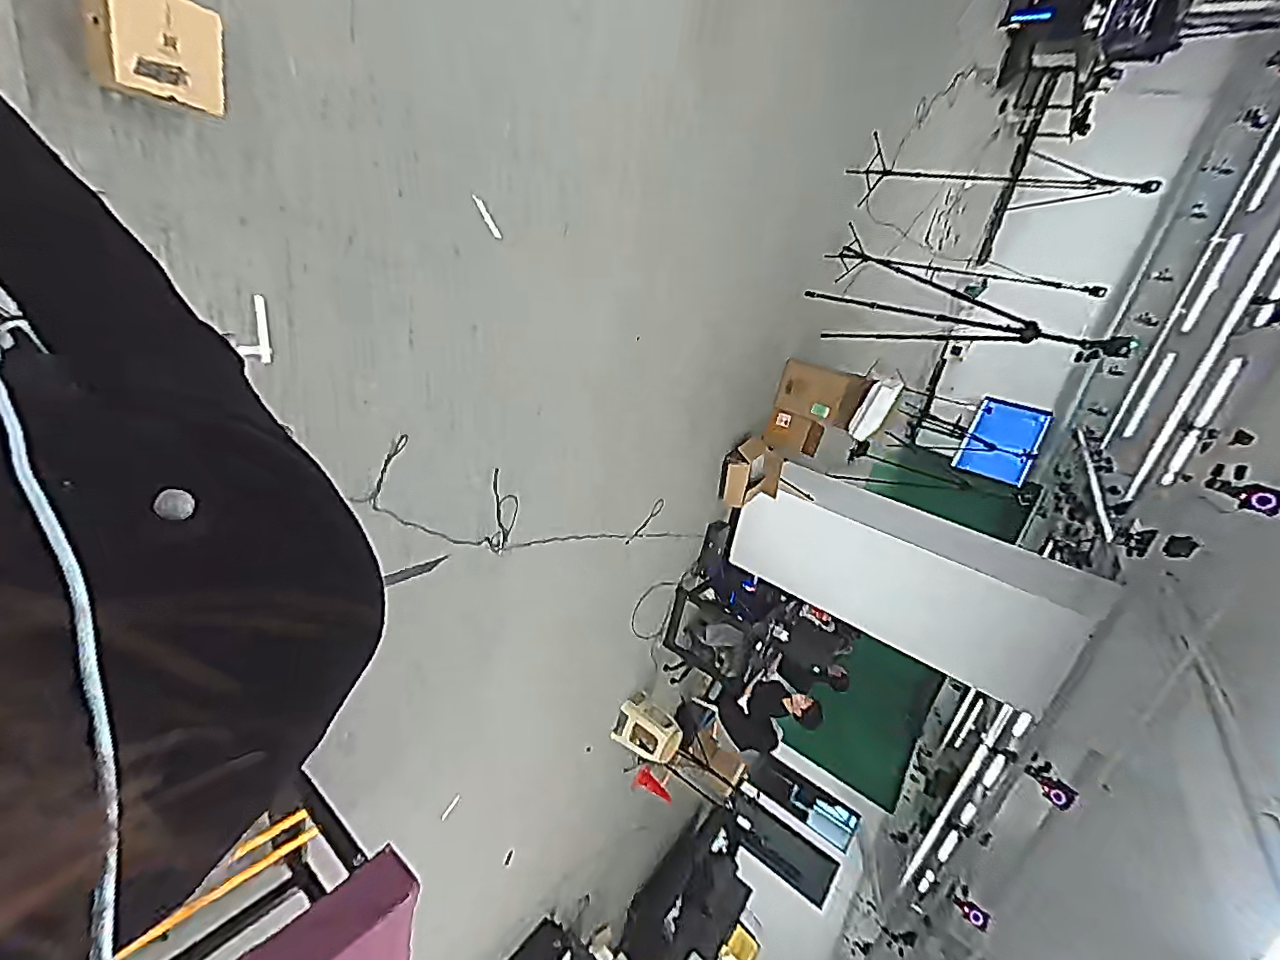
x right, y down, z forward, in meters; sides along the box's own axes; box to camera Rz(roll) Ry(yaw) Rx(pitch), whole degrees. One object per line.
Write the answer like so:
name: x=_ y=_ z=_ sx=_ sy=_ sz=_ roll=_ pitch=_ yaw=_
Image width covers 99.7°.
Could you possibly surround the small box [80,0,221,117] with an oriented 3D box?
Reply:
small box: x=-0.933 y=-0.826 z=1.034 sx=0.168 sy=0.176 sz=0.179 roll=-15 pitch=122 yaw=-54
